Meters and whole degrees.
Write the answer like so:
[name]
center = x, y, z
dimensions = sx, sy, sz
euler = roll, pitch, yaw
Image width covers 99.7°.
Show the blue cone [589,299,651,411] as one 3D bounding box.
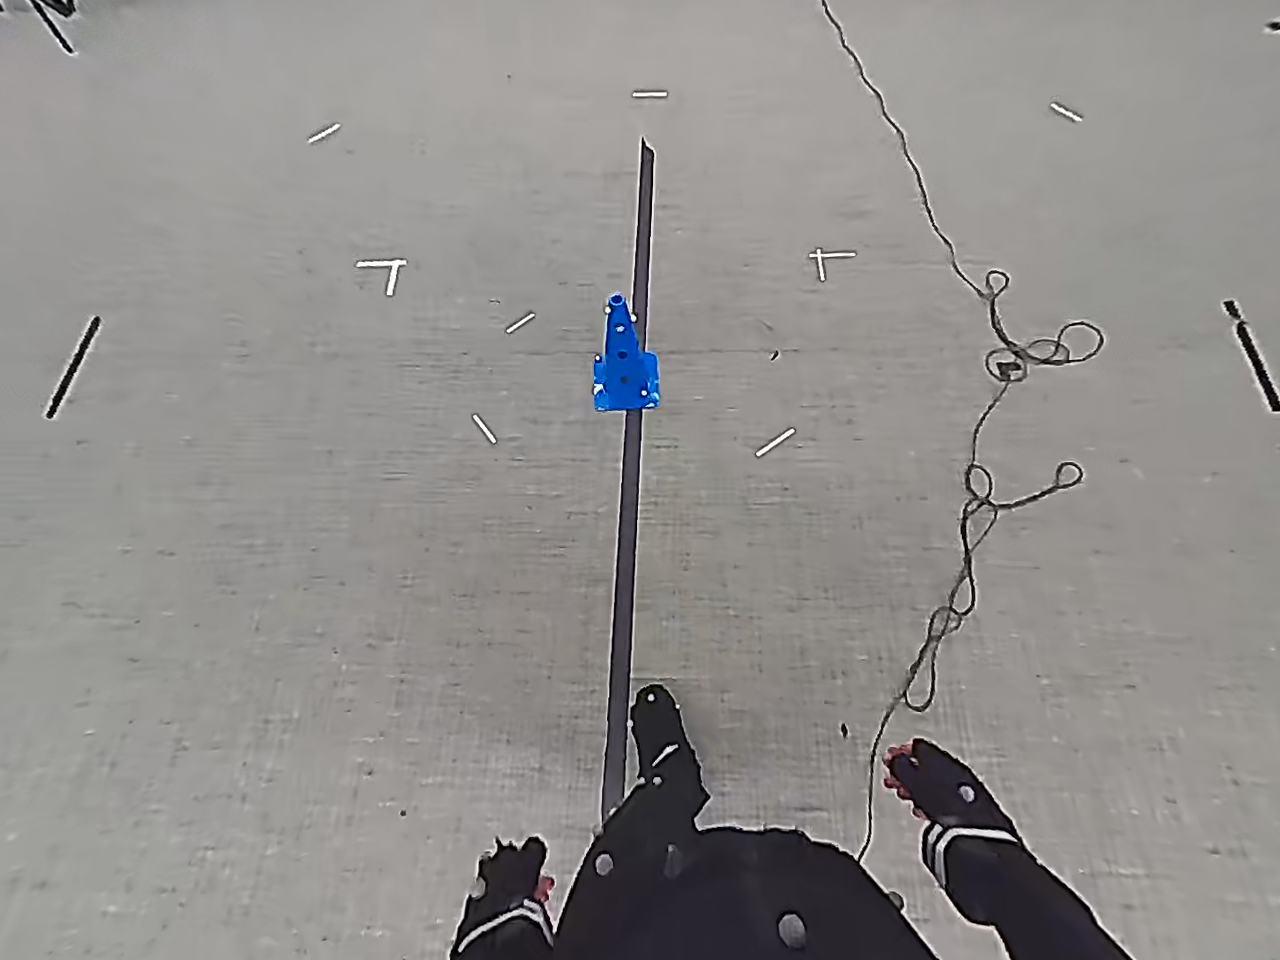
[blue cone]
center = -0.071, -0.364, 1.512
dimensions = 0.192, 0.380, 0.193
euler = -3, 66, 2
